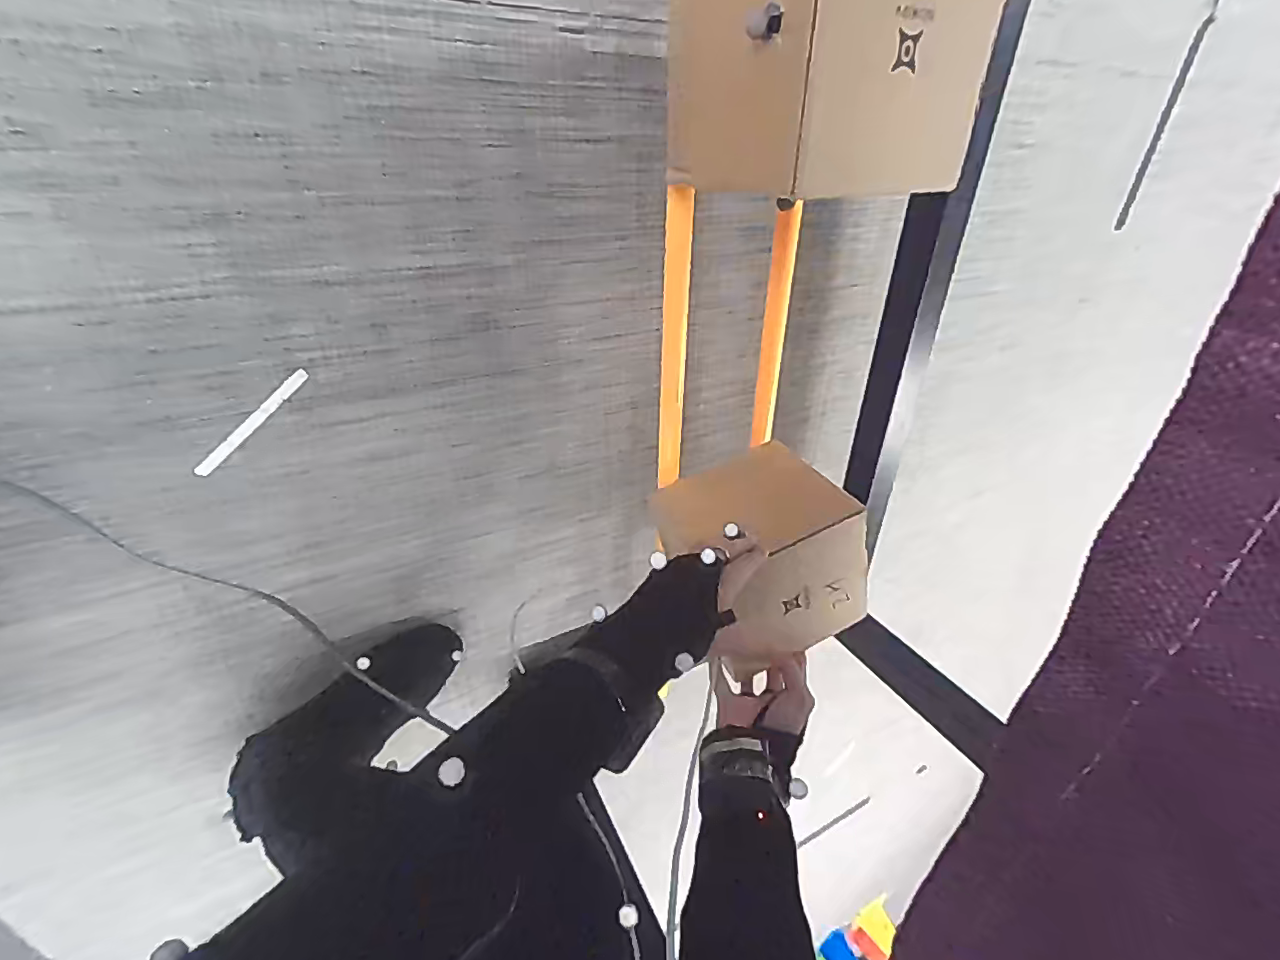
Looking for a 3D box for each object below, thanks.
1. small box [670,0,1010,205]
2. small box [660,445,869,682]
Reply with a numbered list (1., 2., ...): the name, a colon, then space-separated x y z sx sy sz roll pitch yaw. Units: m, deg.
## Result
1. small box: 0.132 -0.312 0.401 0.168 0.176 0.179 -16 124 -23
2. small box: 0.136 0.086 0.621 0.179 0.176 0.168 -23 125 -10
